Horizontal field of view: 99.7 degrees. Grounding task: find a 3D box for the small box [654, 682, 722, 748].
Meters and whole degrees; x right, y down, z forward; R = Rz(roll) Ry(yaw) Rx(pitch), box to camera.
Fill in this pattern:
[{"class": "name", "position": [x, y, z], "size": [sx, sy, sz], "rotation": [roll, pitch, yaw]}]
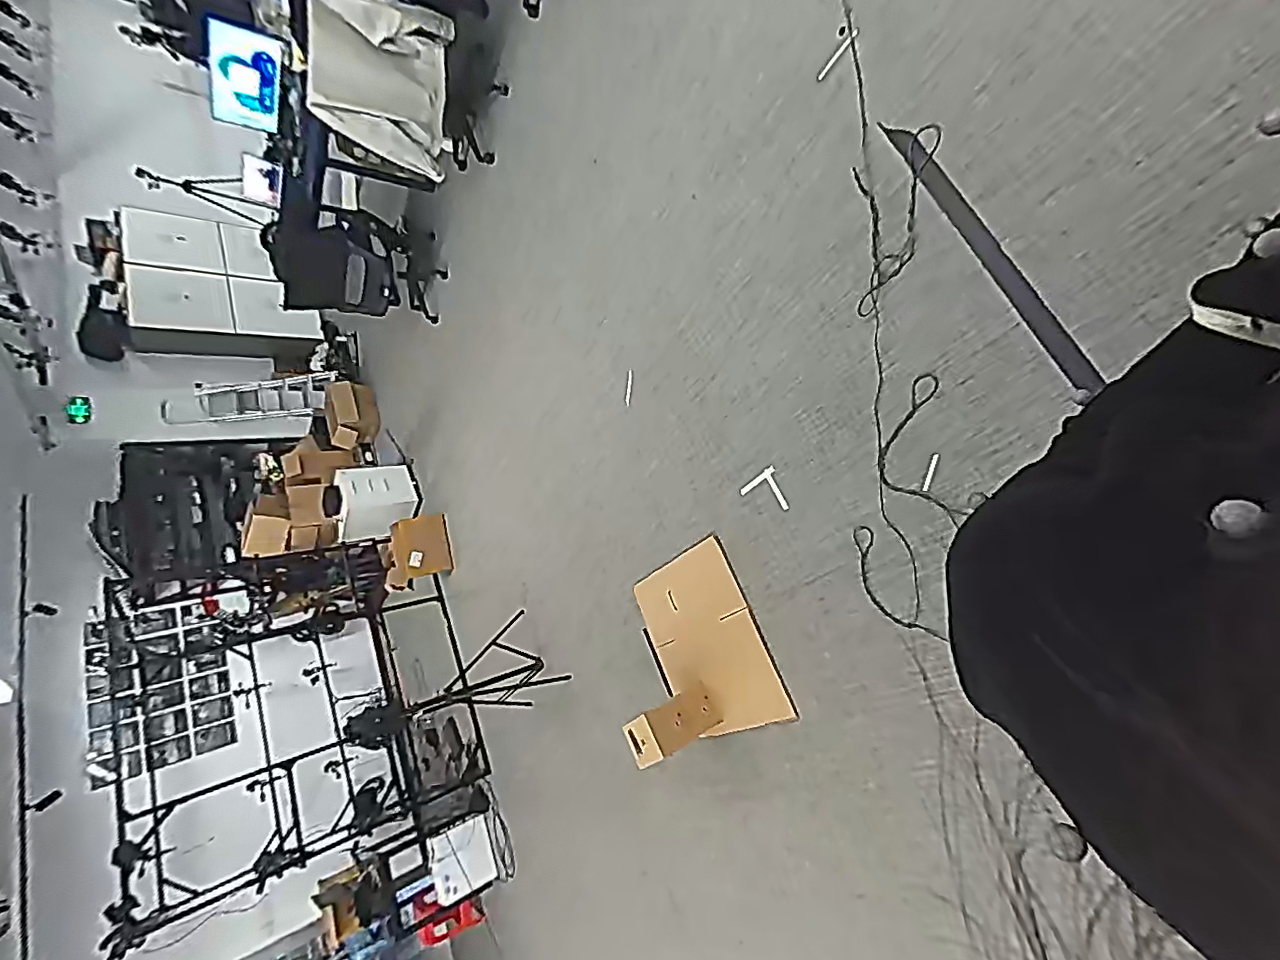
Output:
[{"class": "small box", "position": [0.192, 0.934, 2.155], "size": [0.168, 0.176, 0.179], "rotation": [59, 135, 24]}]
